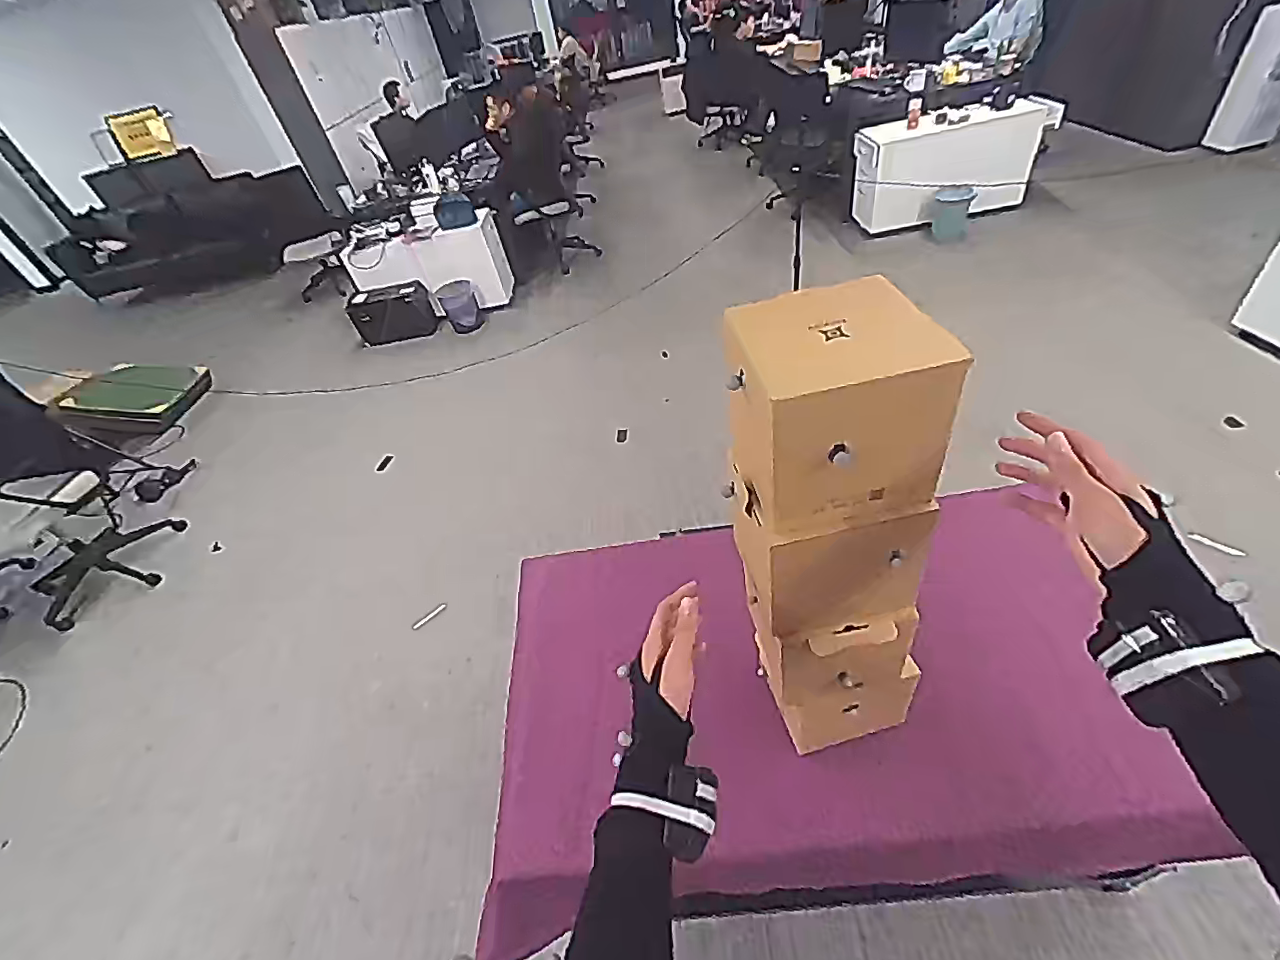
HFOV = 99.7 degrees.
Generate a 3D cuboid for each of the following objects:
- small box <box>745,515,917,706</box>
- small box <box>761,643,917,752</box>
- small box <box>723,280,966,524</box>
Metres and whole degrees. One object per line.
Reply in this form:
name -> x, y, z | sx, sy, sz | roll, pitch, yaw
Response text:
small box -> 0.248, 0.180, 0.747 | 0.168, 0.176, 0.179 | -13, 42, 2
small box -> 0.299, 0.299, 0.851 | 0.179, 0.176, 0.168 | -16, 43, -3
small box -> 0.189, -0.073, 0.547 | 0.168, 0.176, 0.179 | -12, 41, 2
